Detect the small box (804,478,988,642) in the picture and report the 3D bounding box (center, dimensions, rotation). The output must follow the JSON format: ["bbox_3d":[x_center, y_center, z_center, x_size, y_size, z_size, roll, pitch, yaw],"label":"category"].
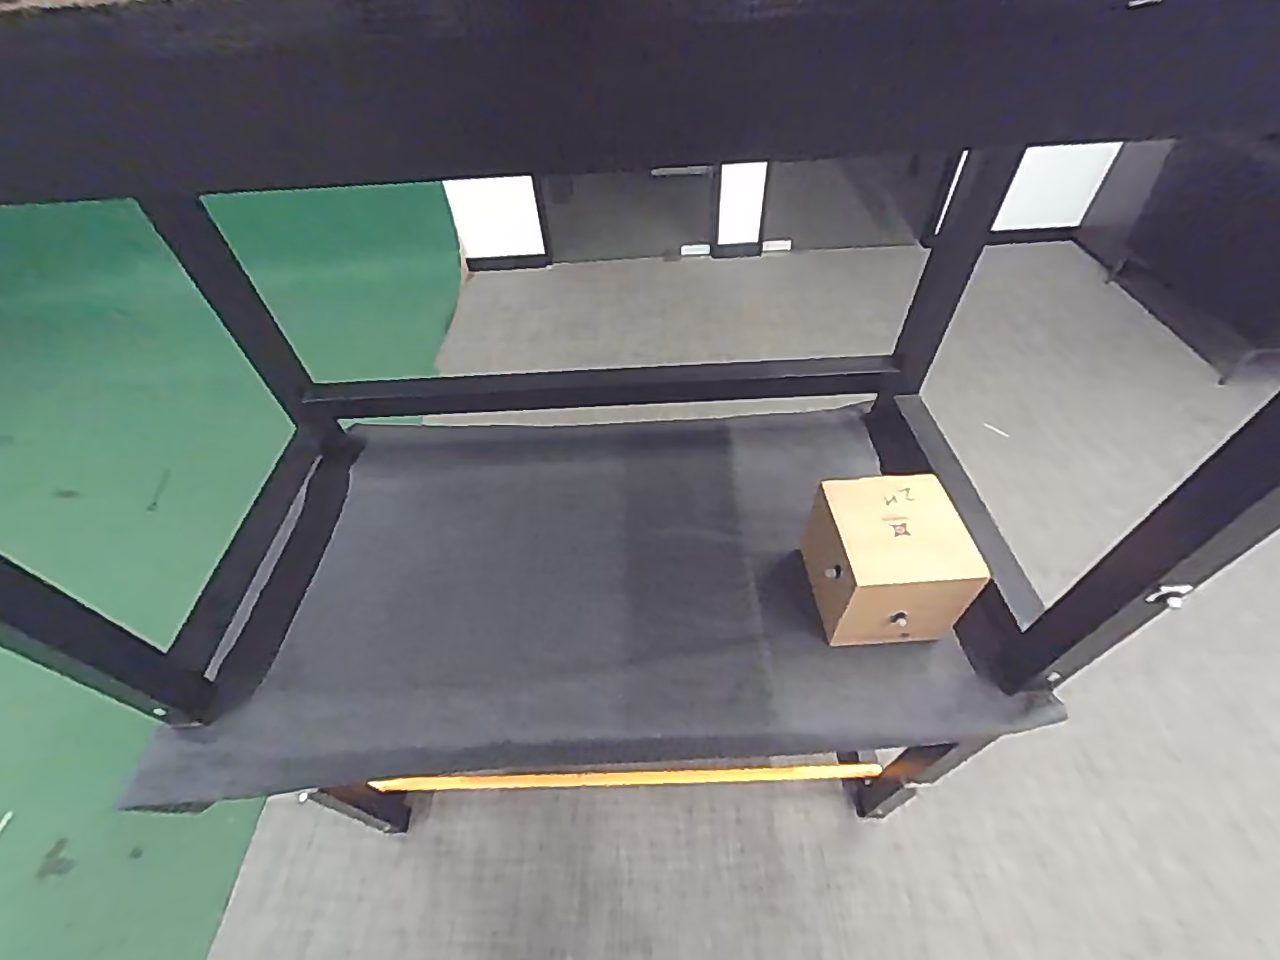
[{"bbox_3d":[0.348,0.120,0.776,0.168,0.176,0.179,-4,47,0],"label":"small box"}]
